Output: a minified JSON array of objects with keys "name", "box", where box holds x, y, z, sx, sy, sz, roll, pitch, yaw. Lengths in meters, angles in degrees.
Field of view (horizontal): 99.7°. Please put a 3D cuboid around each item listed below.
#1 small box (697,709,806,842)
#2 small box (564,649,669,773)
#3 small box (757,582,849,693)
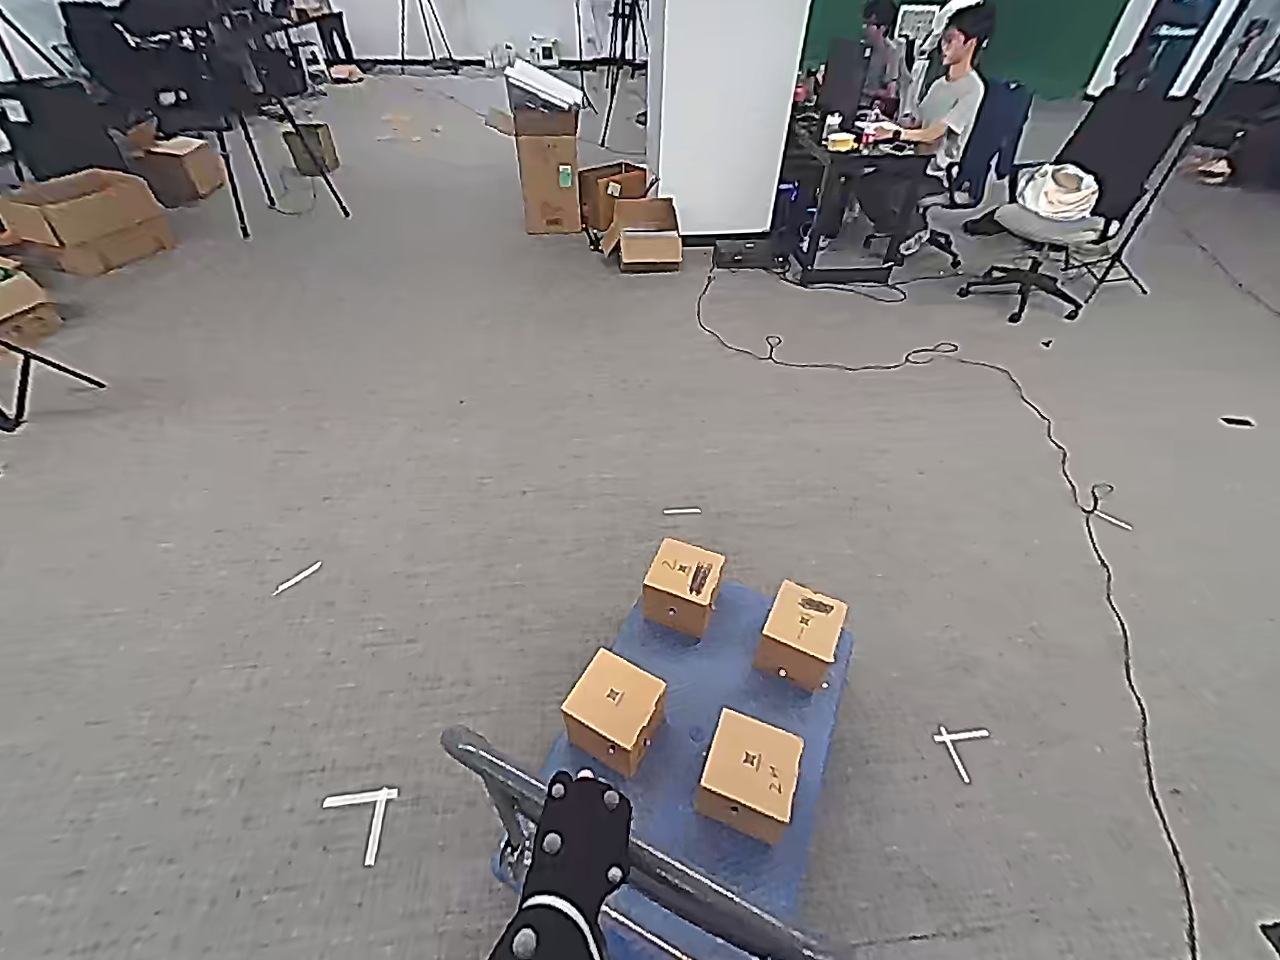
[{"name":"small box","box":[0.227,0.620,1.130,0.179,0.176,0.168,17,47,16]},{"name":"small box","box":[-0.052,0.525,1.223,0.179,0.176,0.168,23,48,19]},{"name":"small box","box":[0.405,0.396,1.360,0.168,0.176,0.179,21,49,19]}]
